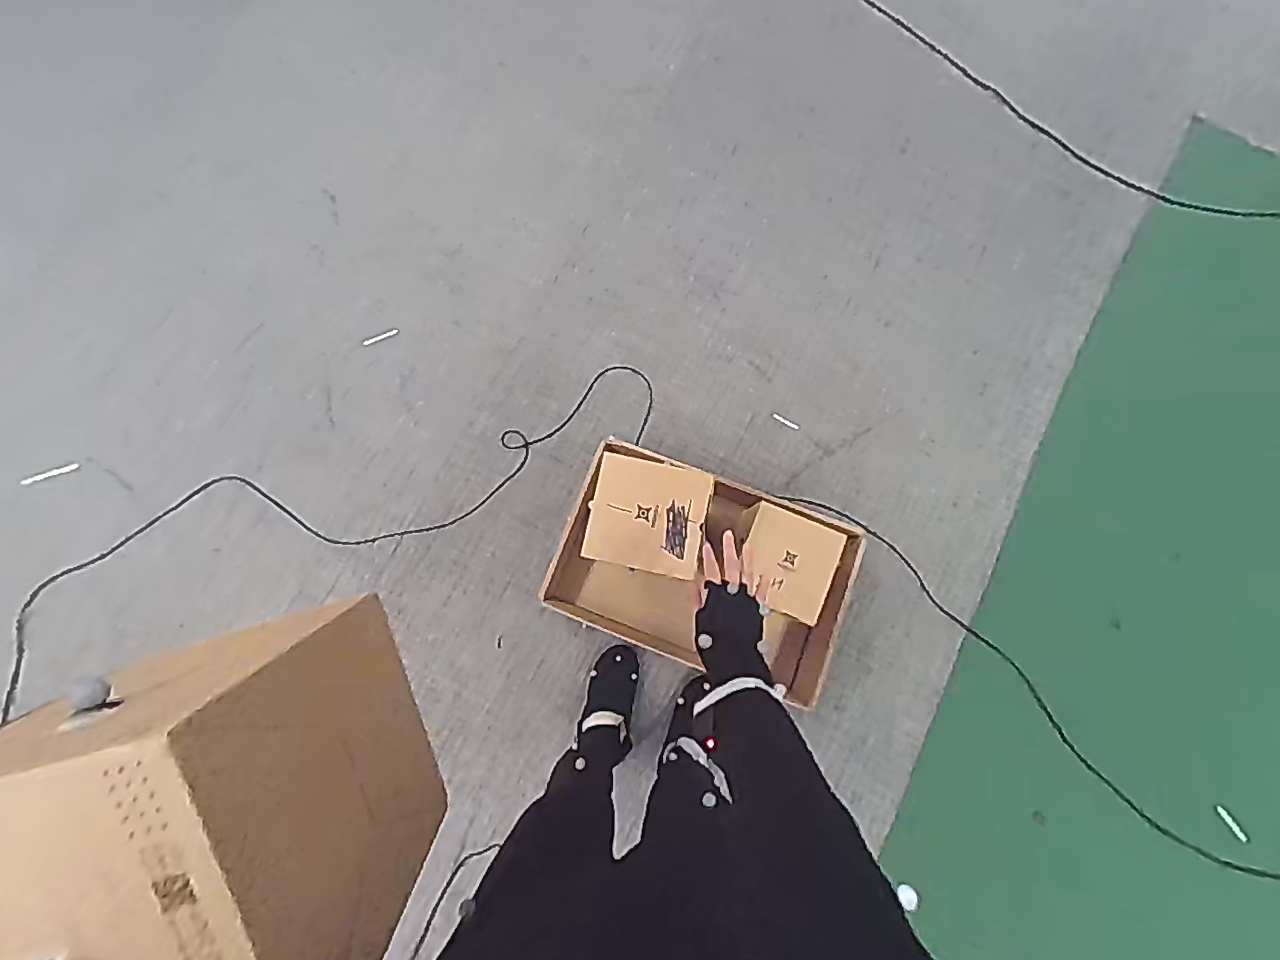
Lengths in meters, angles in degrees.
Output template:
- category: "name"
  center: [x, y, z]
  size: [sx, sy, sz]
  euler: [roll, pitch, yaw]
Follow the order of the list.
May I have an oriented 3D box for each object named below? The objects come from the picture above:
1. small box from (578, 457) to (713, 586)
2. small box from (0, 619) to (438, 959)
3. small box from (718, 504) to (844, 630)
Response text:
- category: "small box"
  center: [0.009, 0.071, 0.893]
  size: [0.179, 0.176, 0.168]
  euler: [12, 82, 2]
- category: "small box"
  center: [-0.236, 0.194, 0.294]
  size: [0.176, 0.179, 0.168]
  euler: [-15, 96, -2]
- category: "small box"
  center: [0.260, 0.166, 1.039]
  size: [0.168, 0.176, 0.179]
  euler: [23, 82, 5]
